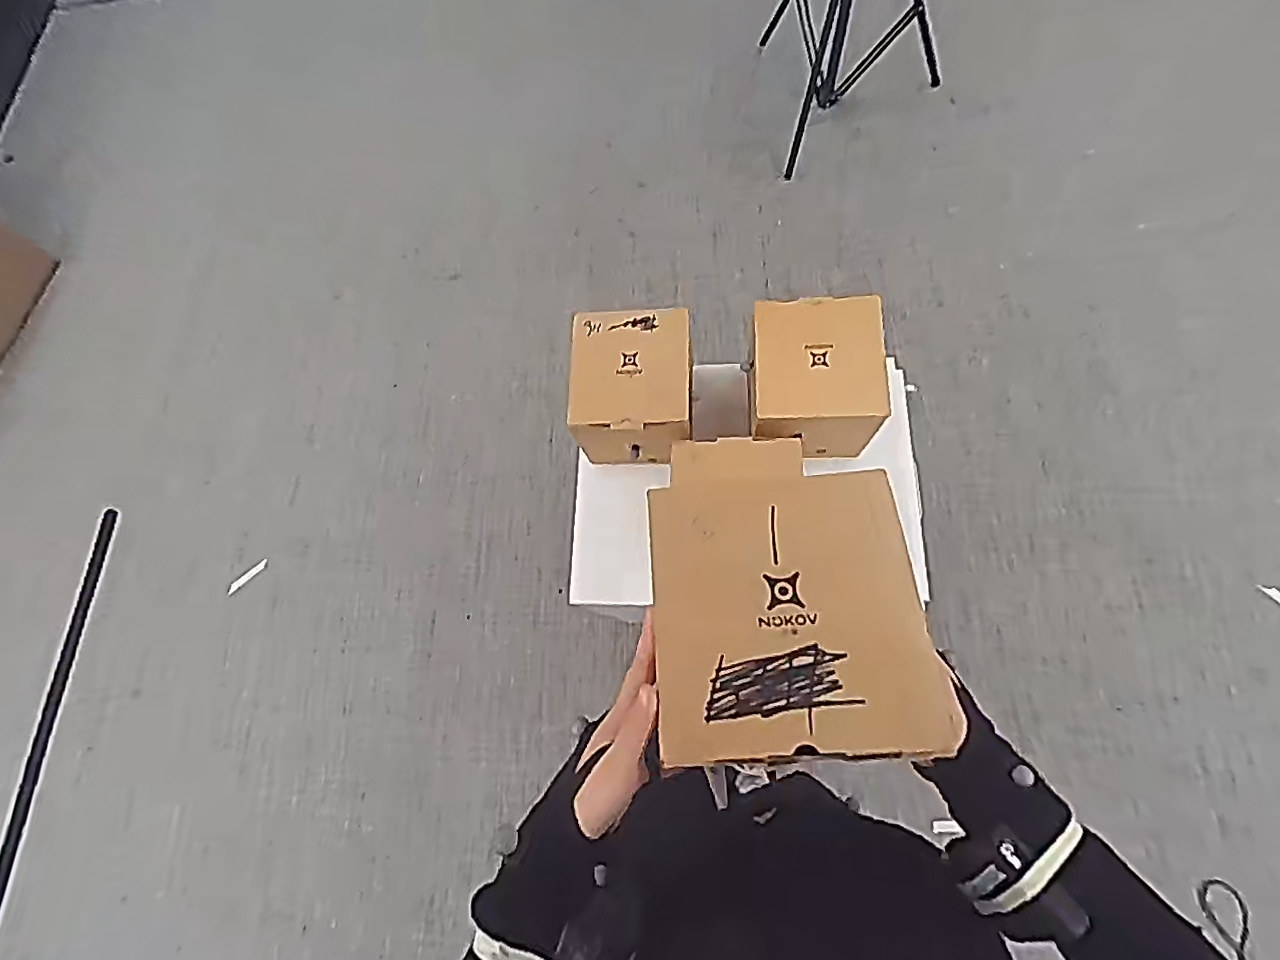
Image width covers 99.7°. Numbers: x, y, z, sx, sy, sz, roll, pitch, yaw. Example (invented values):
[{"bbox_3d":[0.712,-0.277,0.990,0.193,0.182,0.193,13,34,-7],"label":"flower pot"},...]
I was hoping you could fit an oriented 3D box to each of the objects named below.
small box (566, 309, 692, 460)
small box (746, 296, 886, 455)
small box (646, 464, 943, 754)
[{"bbox_3d":[-0.006,-0.133,0.814,0.168,0.176,0.179,0,75,7],"label":"small box"},{"bbox_3d":[0.243,-0.139,0.783,0.168,0.176,0.179,-1,73,8],"label":"small box"},{"bbox_3d":[0.097,0.106,0.415,0.168,0.176,0.179,-5,65,5],"label":"small box"}]
